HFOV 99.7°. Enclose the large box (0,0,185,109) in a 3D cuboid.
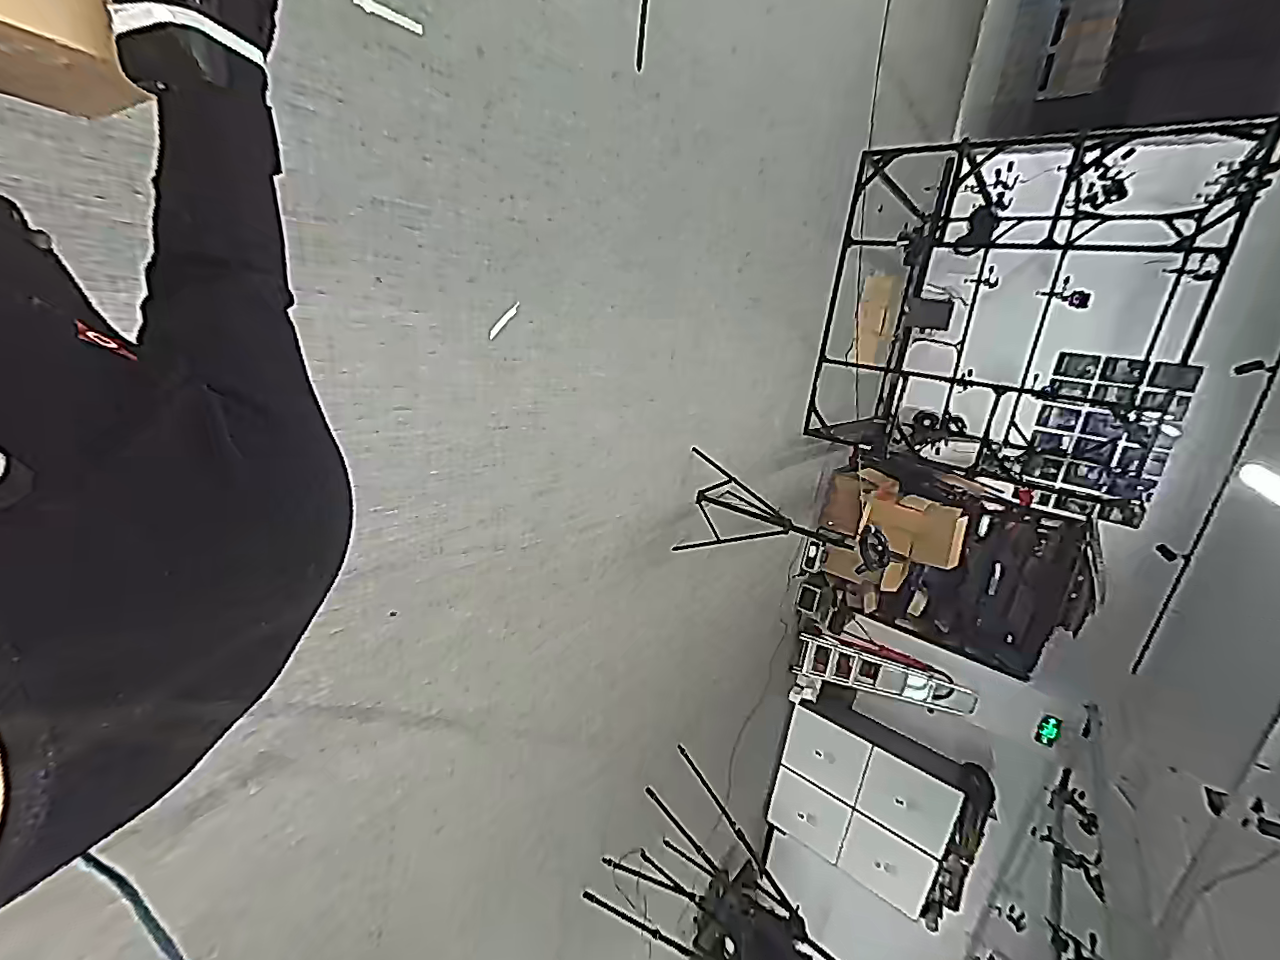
[{"bbox_3d":[-0.545,-0.460,0.282,0.408,0.320,0.320,-9,115,-53],"label":"large box"}]
